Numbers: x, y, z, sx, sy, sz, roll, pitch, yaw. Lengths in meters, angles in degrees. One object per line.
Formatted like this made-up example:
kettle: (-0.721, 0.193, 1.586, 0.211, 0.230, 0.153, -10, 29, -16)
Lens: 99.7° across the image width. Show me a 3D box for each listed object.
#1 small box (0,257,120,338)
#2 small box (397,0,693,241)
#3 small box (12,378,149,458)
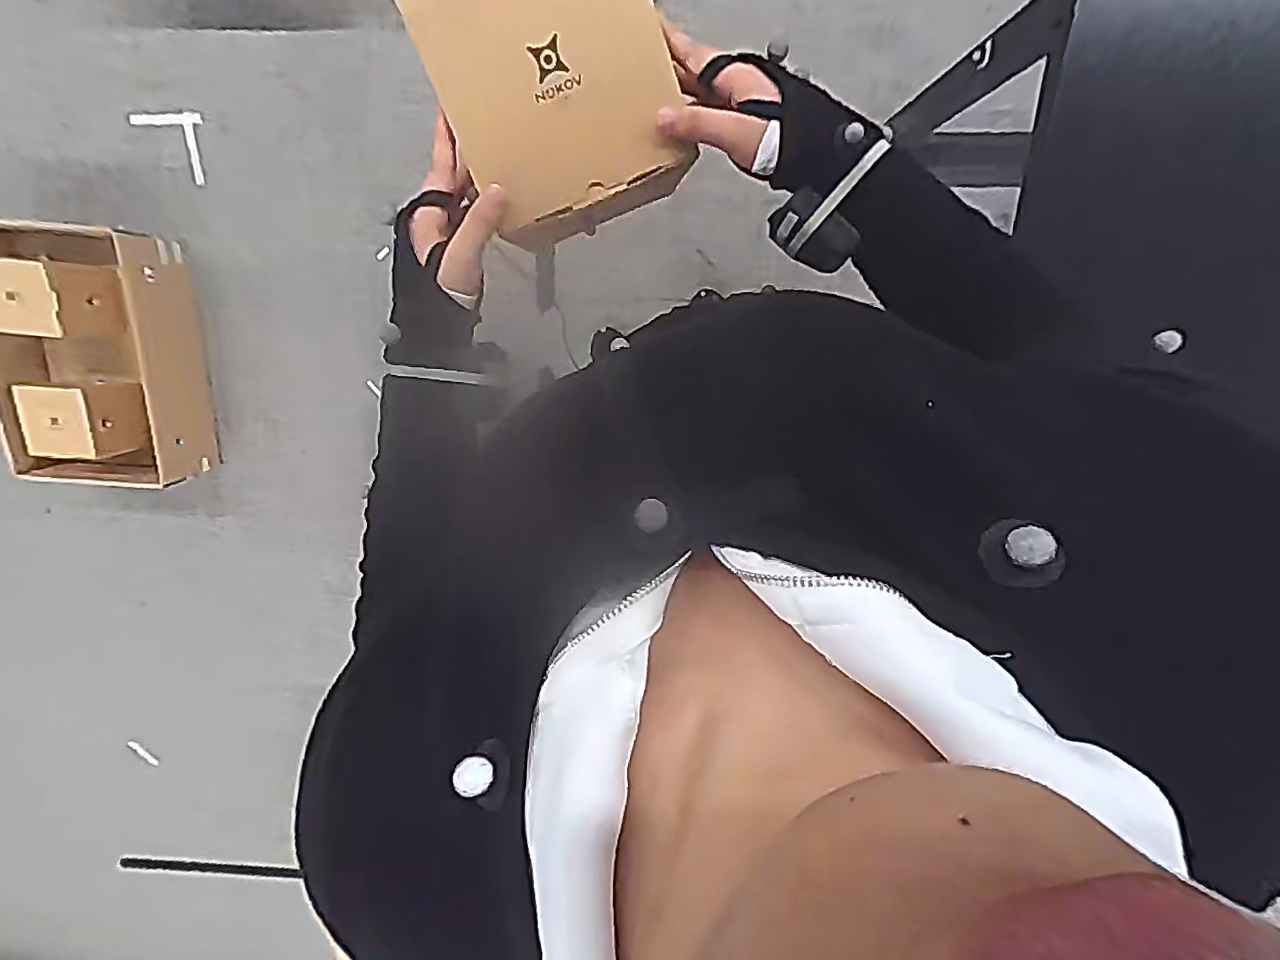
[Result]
small box: (-1.413, -0.440, 1.302, 0.179, 0.176, 0.168, 5, 108, -2)
small box: (-0.072, -0.320, 0.451, 0.168, 0.176, 0.179, -21, 110, 3)
small box: (-1.416, -0.163, 1.386, 0.168, 0.176, 0.179, 3, 105, -2)
